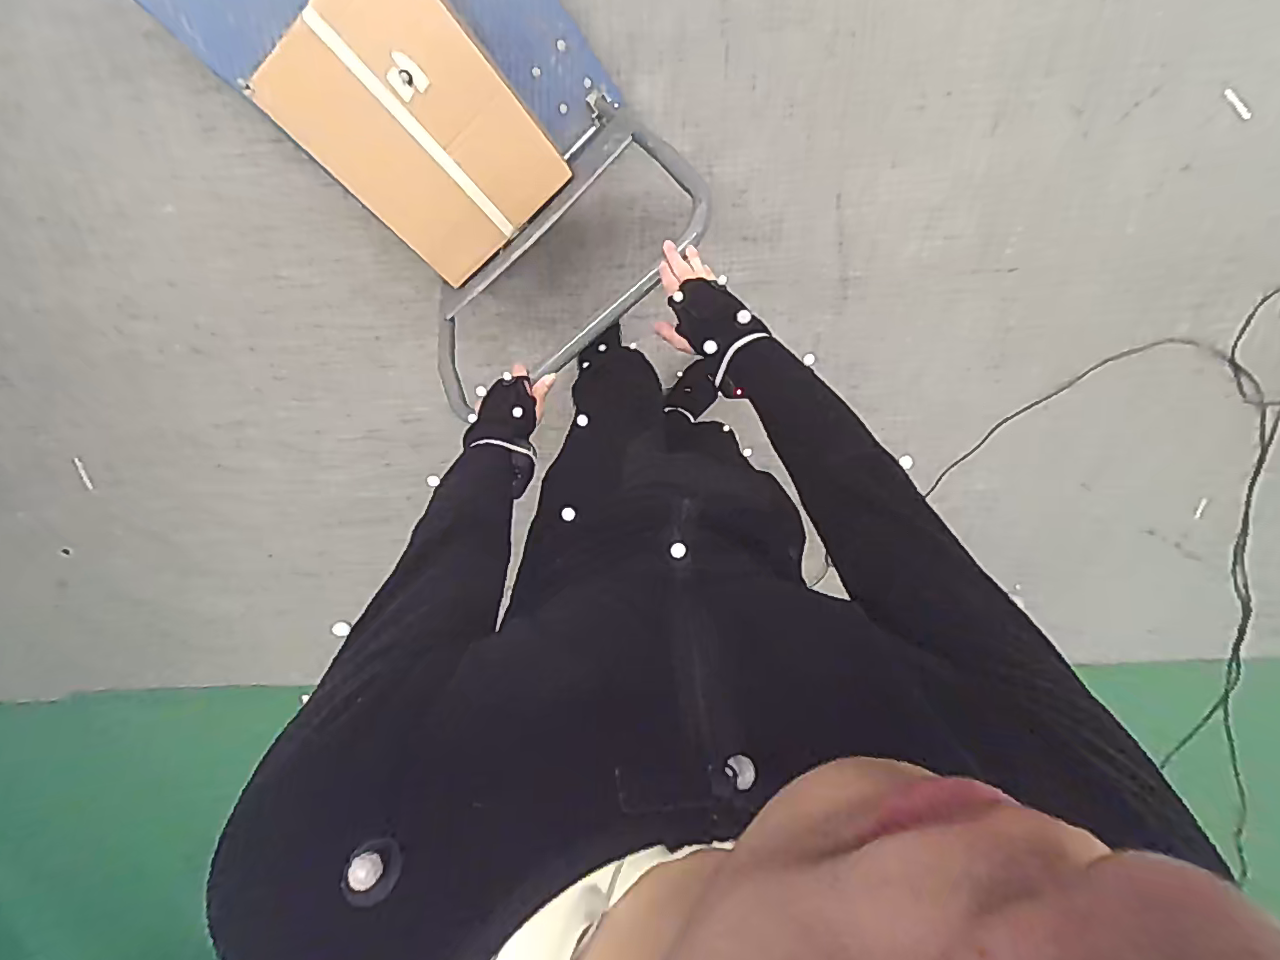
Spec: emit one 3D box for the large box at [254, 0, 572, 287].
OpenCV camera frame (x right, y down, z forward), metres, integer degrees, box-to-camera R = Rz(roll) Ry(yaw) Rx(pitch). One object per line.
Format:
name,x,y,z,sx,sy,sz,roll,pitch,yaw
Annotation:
large box,-0.384,-0.655,1.015,0.320,0.320,0.408,-38,127,15
